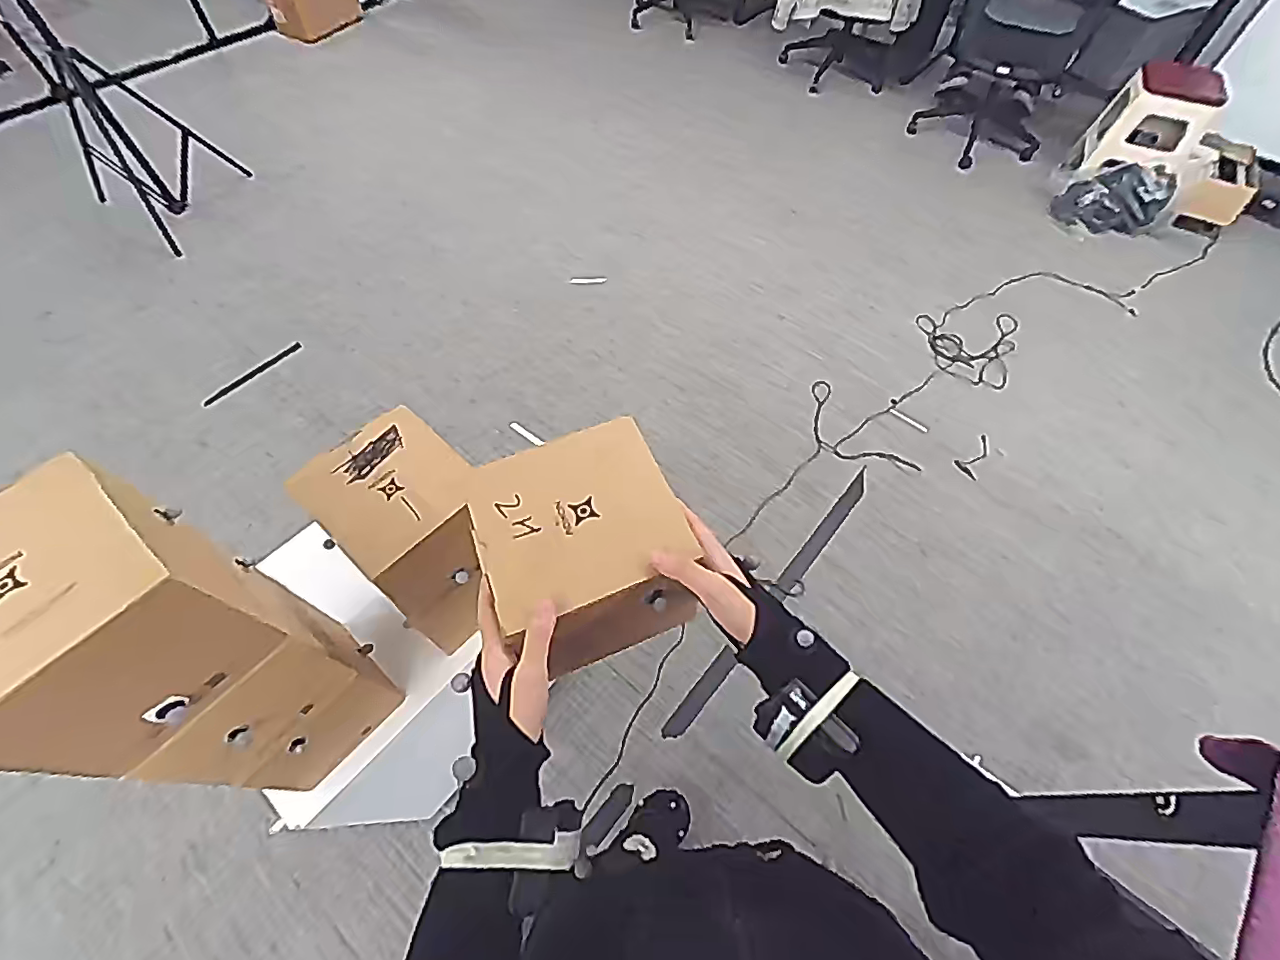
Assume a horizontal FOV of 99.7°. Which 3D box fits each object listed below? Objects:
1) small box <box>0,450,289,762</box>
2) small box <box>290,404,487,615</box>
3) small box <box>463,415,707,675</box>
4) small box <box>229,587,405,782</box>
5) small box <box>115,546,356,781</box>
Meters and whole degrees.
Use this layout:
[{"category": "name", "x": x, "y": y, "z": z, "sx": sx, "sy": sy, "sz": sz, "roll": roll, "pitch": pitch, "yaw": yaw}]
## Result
[{"category": "small box", "x": -0.455, "y": 0.114, "z": 0.458, "sx": 0.179, "sy": 0.176, "sz": 0.168, "roll": 36, "pitch": 65, "yaw": 18}, {"category": "small box", "x": -0.289, "y": 0.044, "z": 0.691, "sx": 0.179, "sy": 0.176, "sz": 0.168, "roll": 39, "pitch": 66, "yaw": 19}, {"category": "small box", "x": -0.050, "y": 0.070, "z": 0.536, "sx": 0.179, "sy": 0.176, "sz": 0.168, "roll": -21, "pitch": 60, "yaw": -9}, {"category": "small box", "x": -0.461, "y": 0.284, "z": 0.735, "sx": 0.179, "sy": 0.176, "sz": 0.168, "roll": 37, "pitch": 66, "yaw": 20}, {"category": "small box", "x": -0.457, "y": 0.200, "z": 0.596, "sx": 0.179, "sy": 0.176, "sz": 0.168, "roll": 36, "pitch": 65, "yaw": 19}]
